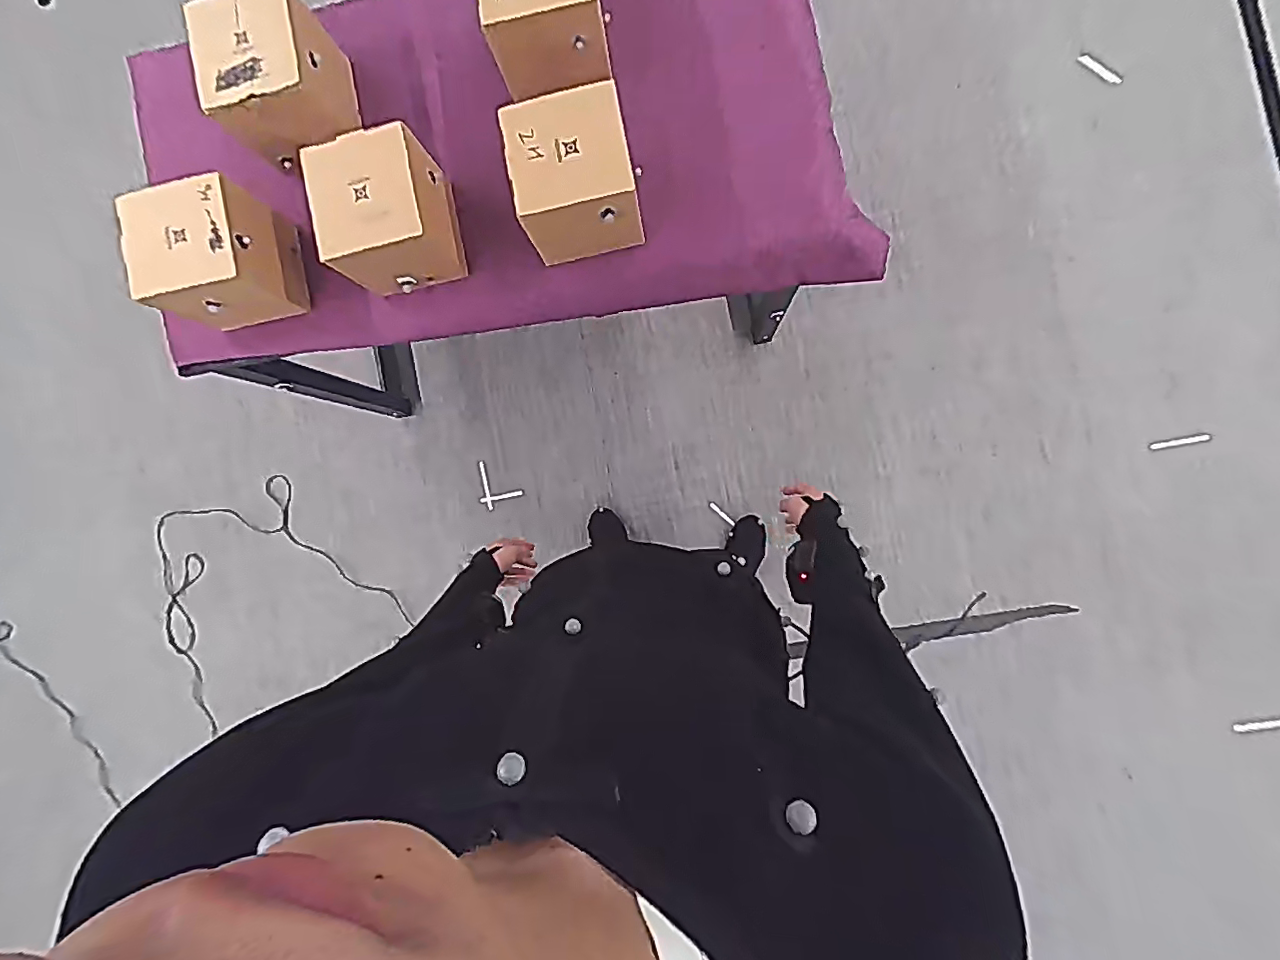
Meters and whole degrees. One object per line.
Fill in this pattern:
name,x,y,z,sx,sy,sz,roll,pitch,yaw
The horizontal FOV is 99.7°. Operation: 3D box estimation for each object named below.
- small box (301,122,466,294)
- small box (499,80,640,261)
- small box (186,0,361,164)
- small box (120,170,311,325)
small box,-0.404,-0.428,0.878,0.168,0.176,0.179,-11,90,5
small box,-0.099,-0.470,0.847,0.179,0.176,0.168,-11,88,5
small box,-0.592,-0.659,0.897,0.168,0.176,0.179,-11,88,4
small box,-0.693,-0.371,0.899,0.179,0.176,0.168,-10,89,5
